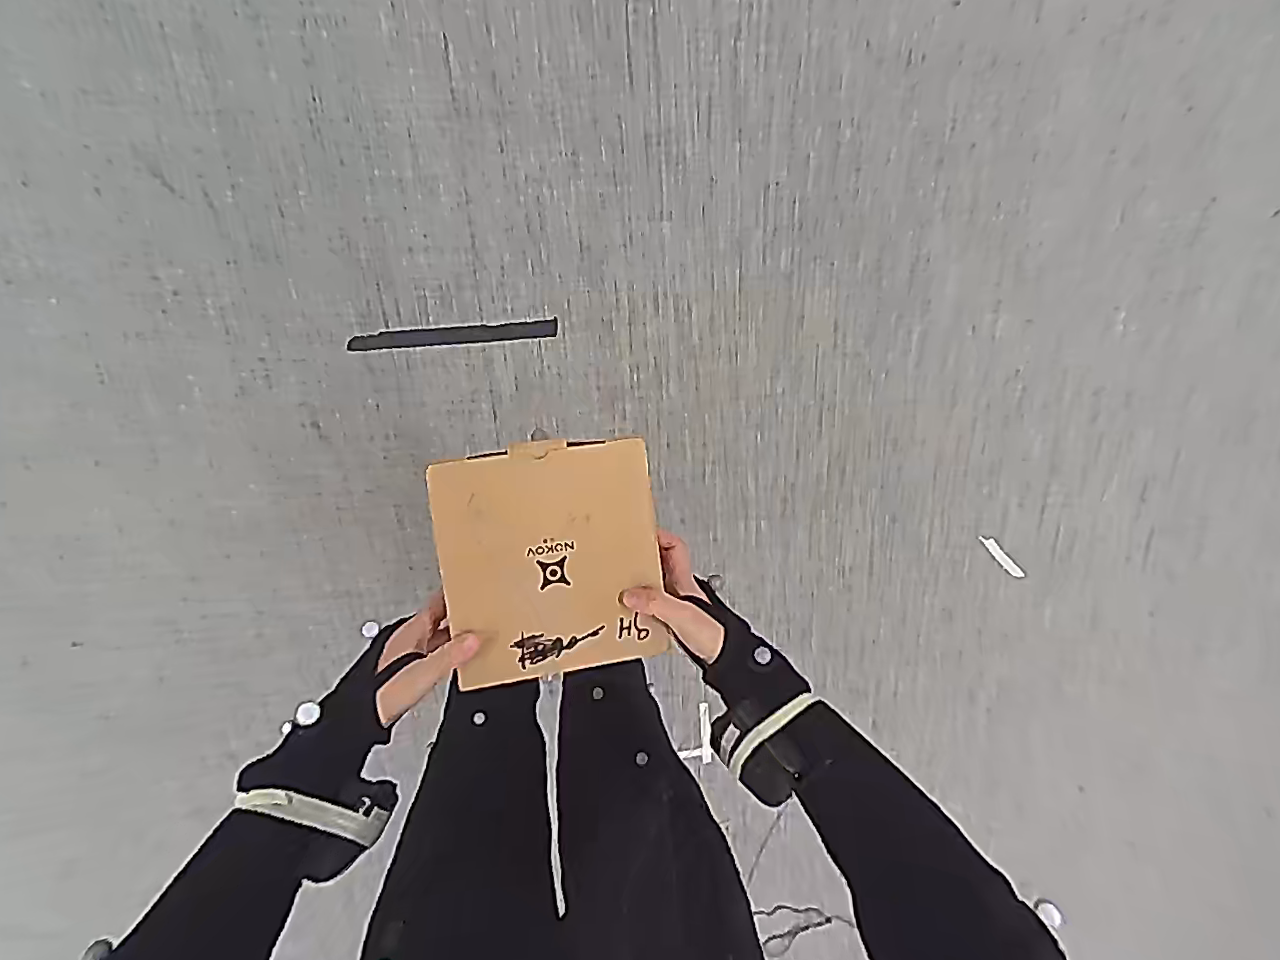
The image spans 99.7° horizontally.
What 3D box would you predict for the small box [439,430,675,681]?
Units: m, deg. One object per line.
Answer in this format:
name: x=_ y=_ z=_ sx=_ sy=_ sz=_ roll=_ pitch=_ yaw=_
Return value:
small box: x=-0.075 y=0.054 z=0.494 sx=0.168 sy=0.176 sz=0.179 roll=-8 pitch=94 yaw=-10
